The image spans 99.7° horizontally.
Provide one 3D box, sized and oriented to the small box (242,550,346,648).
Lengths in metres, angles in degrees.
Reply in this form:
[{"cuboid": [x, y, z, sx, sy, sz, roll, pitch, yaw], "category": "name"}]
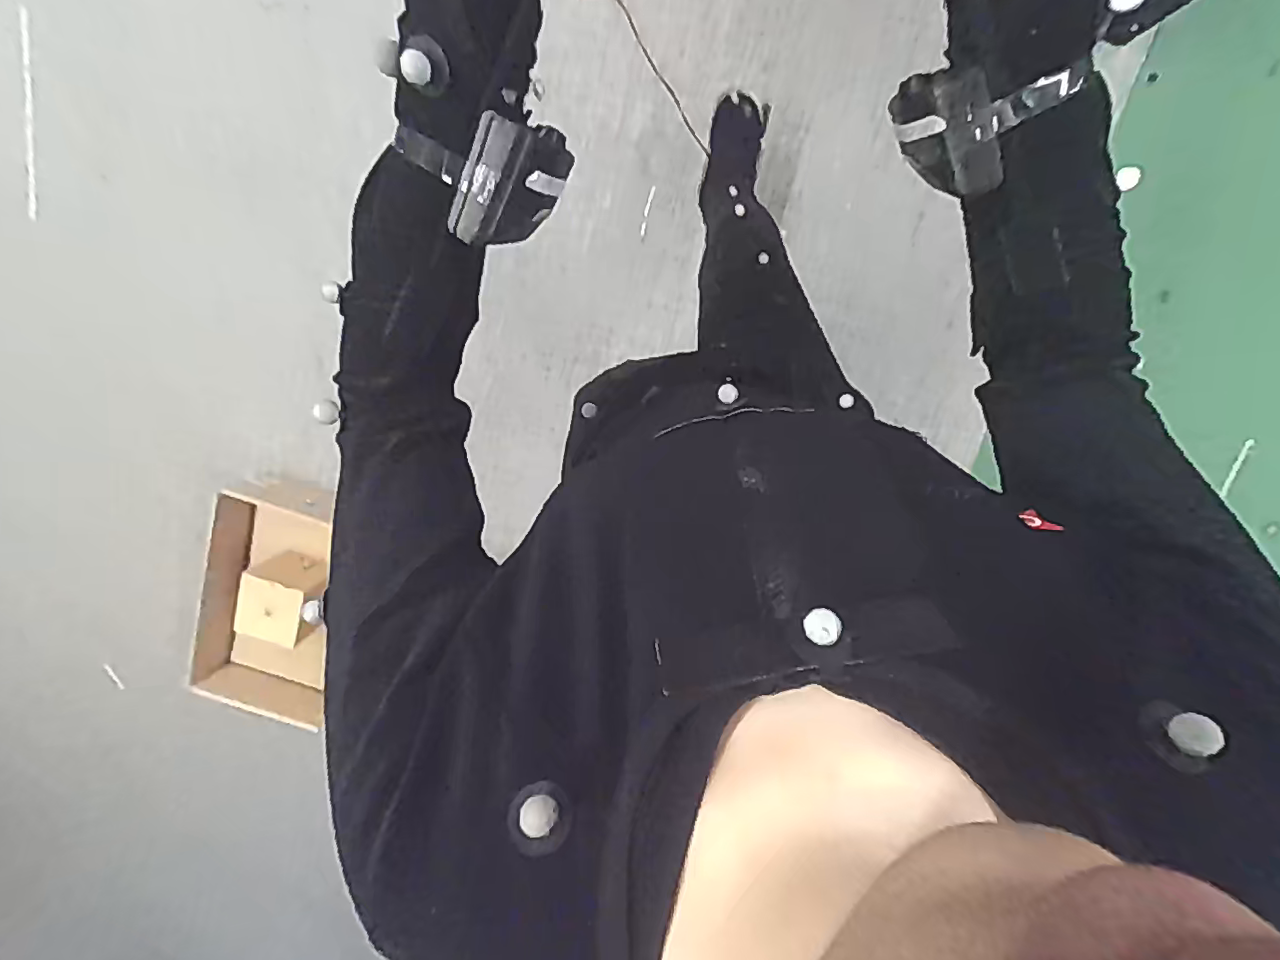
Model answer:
[{"cuboid": [-0.935, 0.319, 1.473, 0.168, 0.176, 0.179, 19, 104, -1], "category": "small box"}]
